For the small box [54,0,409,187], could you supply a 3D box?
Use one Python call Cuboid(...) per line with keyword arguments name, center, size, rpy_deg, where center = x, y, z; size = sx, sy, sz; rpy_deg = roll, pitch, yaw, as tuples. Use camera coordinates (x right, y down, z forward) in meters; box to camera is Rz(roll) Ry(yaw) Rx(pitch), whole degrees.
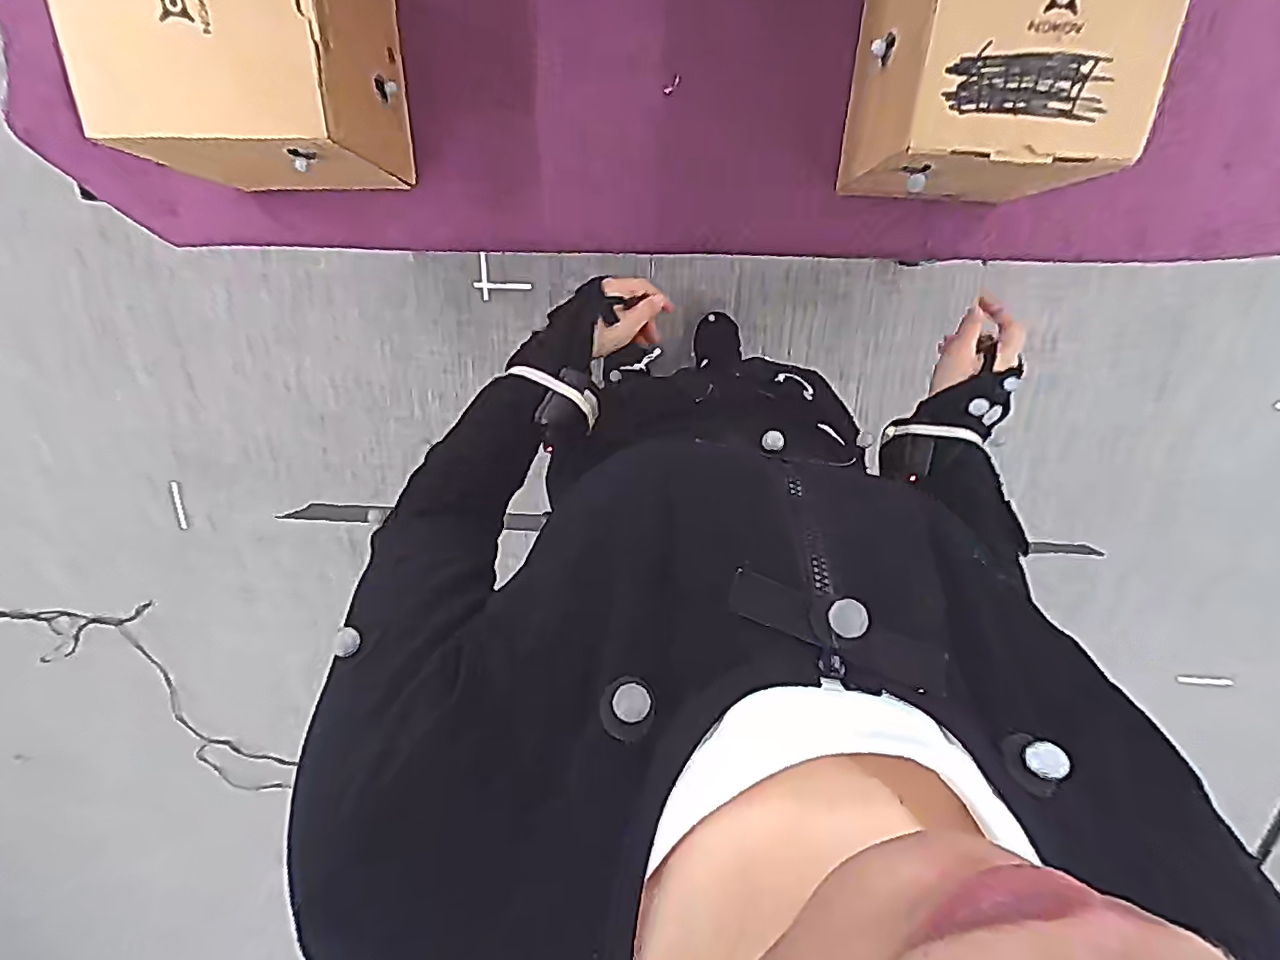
Cuboid(name="small box", center=(-0.319, -0.352, 0.450), size=(0.179, 0.176, 0.168), rpy_deg=(-2, 108, -2))
